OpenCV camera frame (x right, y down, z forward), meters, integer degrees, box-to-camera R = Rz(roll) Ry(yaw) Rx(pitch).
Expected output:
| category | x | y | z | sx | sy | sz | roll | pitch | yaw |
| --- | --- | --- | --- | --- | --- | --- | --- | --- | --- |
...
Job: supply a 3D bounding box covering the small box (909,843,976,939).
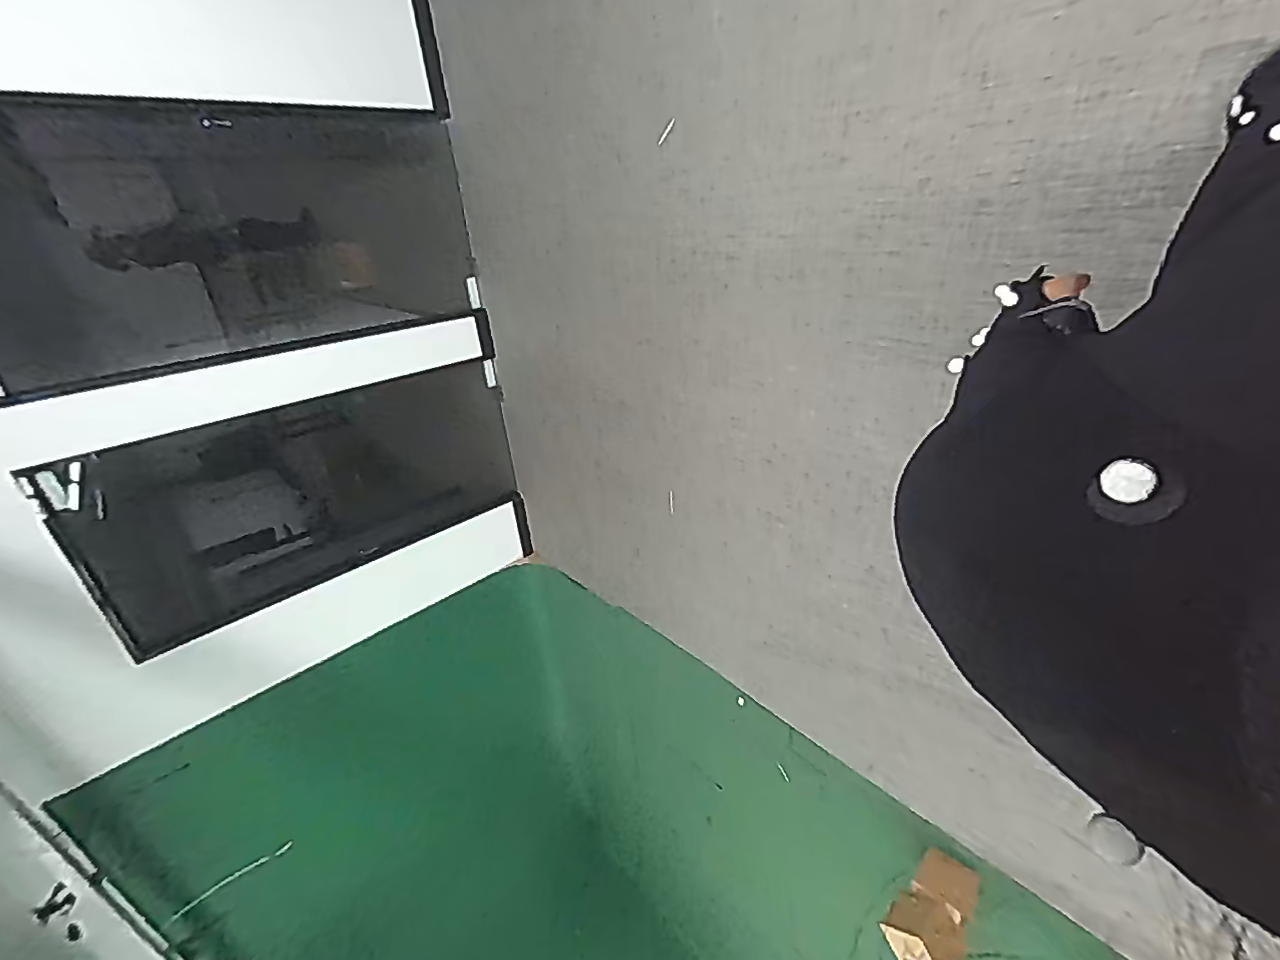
| category | x | y | z | sx | sy | sz | roll | pitch | yaw |
| --- | --- | --- | --- | --- | --- | --- | --- | --- | --- |
| small box | 1.091 | 1.475 | 1.950 | 0.168 | 0.176 | 0.179 | 14 | 122 | 47 |
